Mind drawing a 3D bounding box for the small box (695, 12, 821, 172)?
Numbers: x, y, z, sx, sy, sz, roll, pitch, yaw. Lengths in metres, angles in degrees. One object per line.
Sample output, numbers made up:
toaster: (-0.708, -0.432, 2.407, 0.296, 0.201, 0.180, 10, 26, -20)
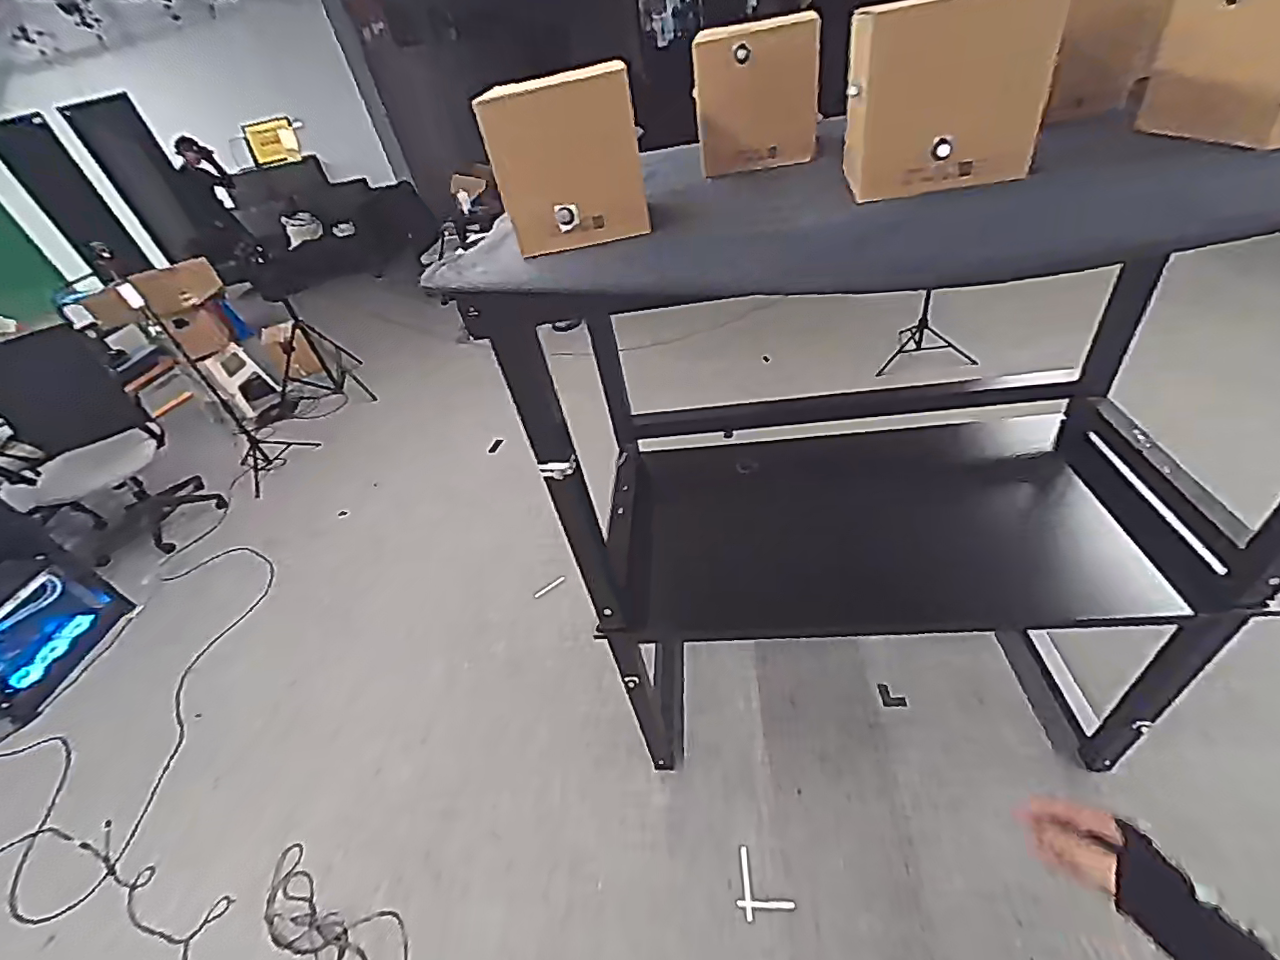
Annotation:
small box: (0.180, -0.588, 0.826, 0.168, 0.176, 0.179, -2, 41, 14)

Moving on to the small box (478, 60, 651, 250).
small box: (-0.084, -0.407, 0.680, 0.168, 0.176, 0.179, -11, 39, 3)
